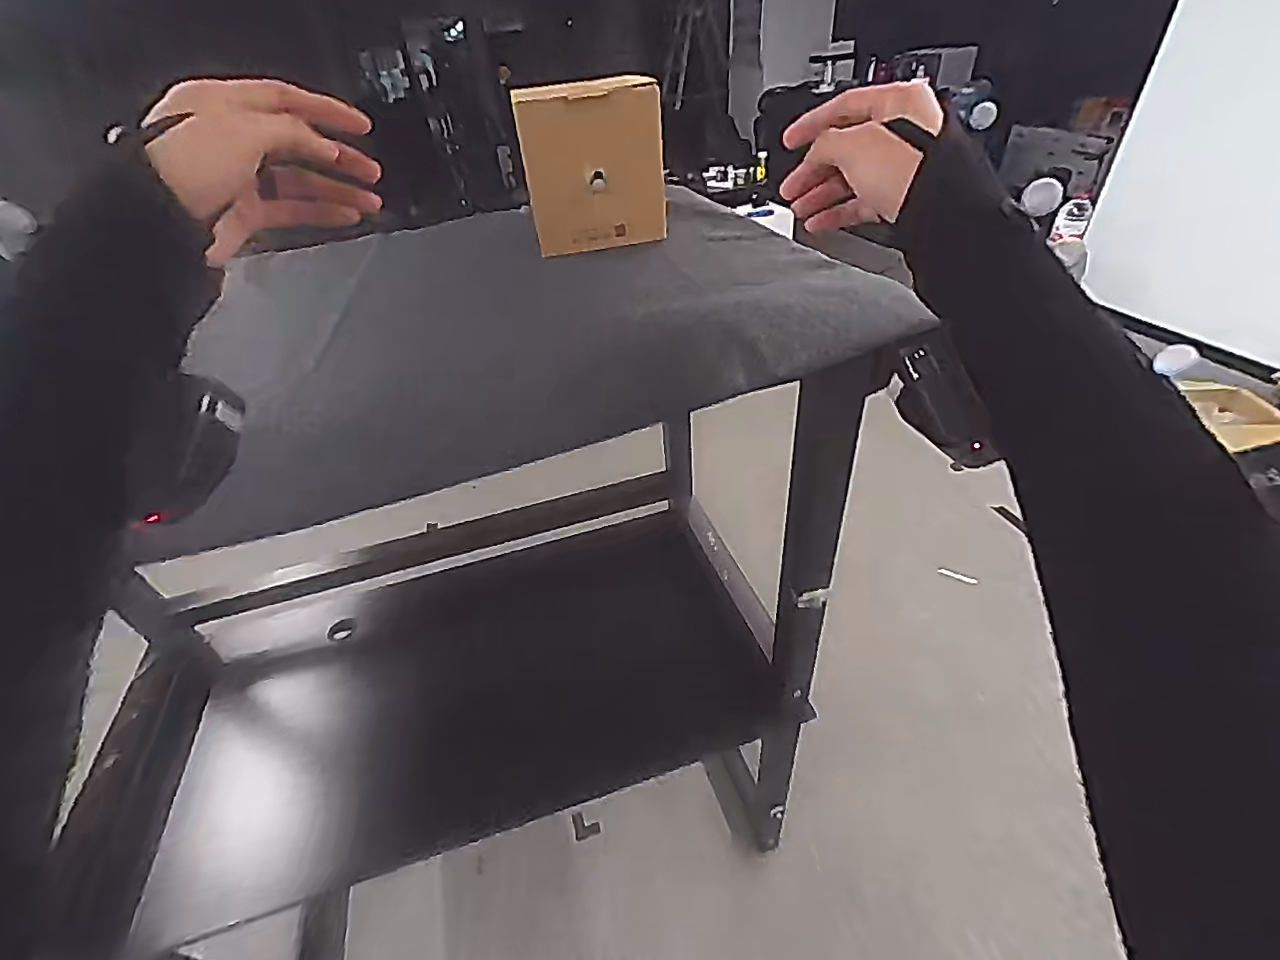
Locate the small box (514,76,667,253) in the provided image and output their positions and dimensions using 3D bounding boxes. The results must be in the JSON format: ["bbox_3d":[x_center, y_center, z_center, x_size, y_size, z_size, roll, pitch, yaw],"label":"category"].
[{"bbox_3d":[-0.063,-0.409,0.708,0.168,0.176,0.179,-11,41,-5],"label":"small box"}]
